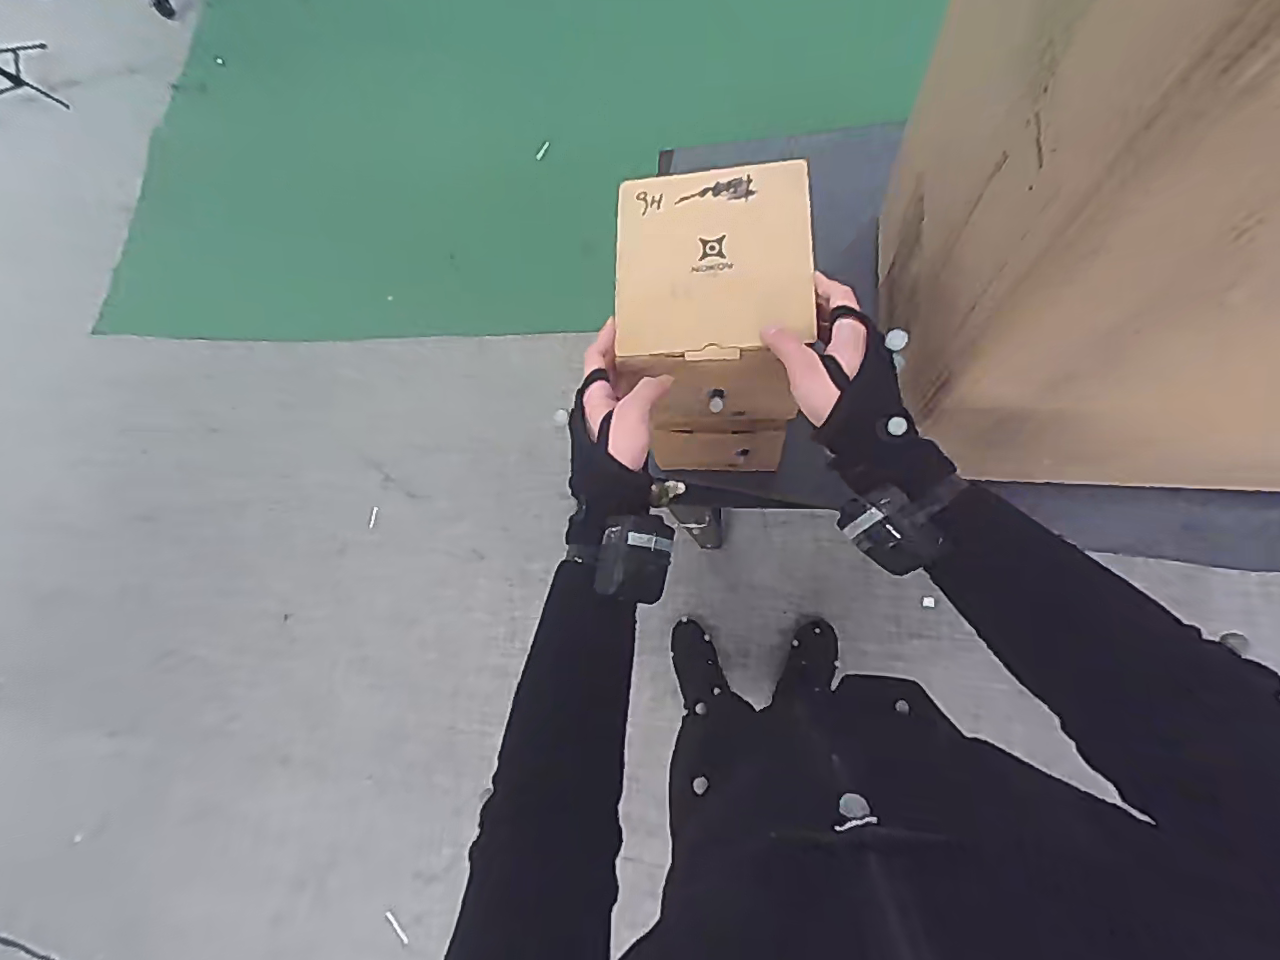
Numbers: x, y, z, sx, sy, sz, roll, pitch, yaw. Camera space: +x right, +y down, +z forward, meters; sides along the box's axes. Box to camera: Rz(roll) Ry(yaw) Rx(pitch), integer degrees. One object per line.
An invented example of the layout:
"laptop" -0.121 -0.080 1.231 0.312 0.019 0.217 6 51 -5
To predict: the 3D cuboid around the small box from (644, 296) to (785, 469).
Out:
"small box" 0.101 -0.117 0.716 0.168 0.176 0.179 0 74 9
